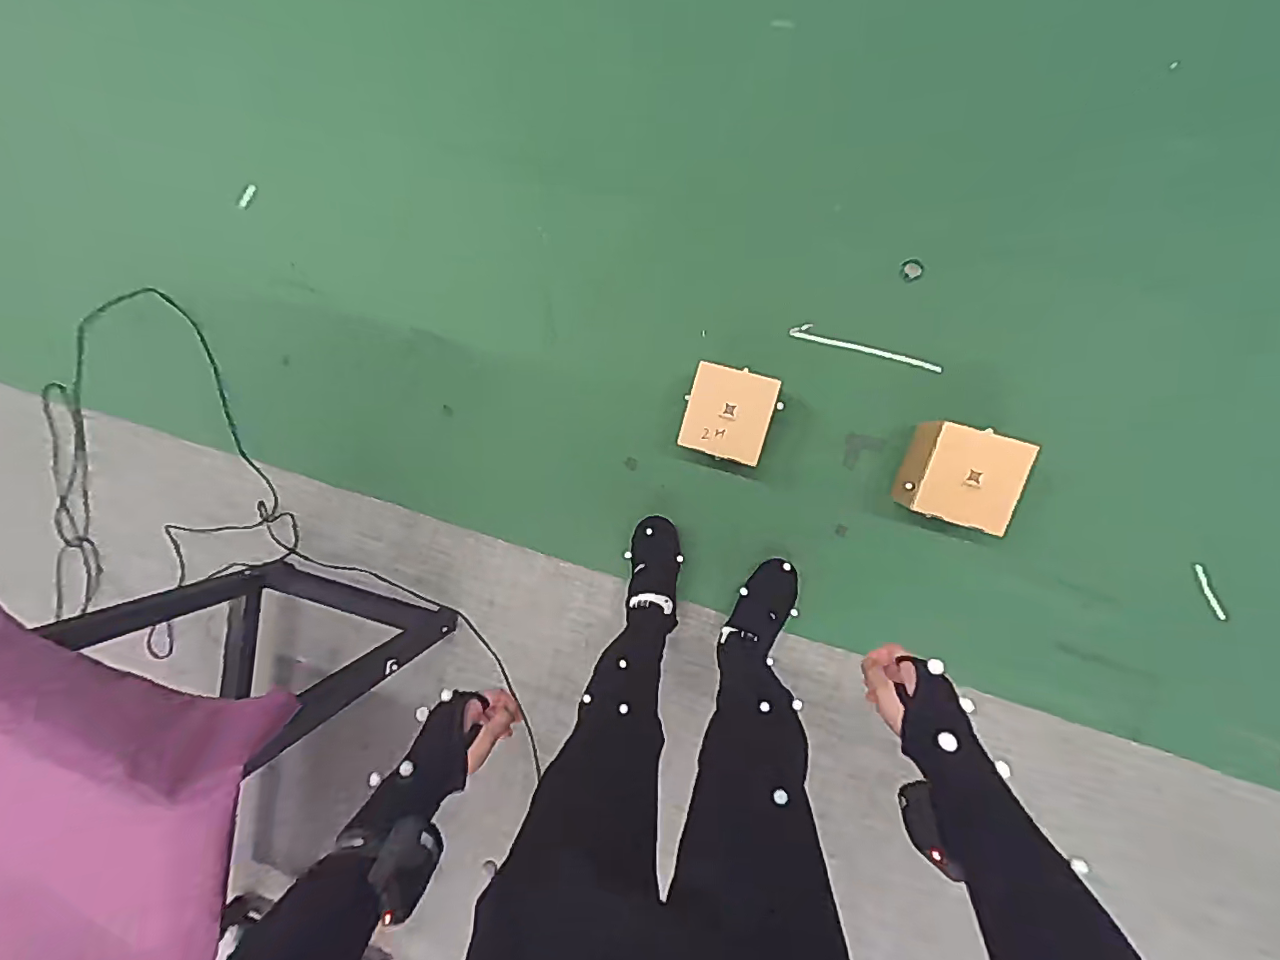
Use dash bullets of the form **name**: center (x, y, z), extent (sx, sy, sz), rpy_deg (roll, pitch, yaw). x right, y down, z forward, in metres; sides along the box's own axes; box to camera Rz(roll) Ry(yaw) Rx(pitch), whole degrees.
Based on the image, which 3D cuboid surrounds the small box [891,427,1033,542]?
- **small box**: center (0.619, 0.000, 1.066), extent (0.168, 0.176, 0.179), rpy_deg (18, 100, 9)

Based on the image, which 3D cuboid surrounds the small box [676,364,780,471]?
- **small box**: center (0.187, -0.130, 1.143), extent (0.168, 0.176, 0.179), rpy_deg (17, 99, 11)
